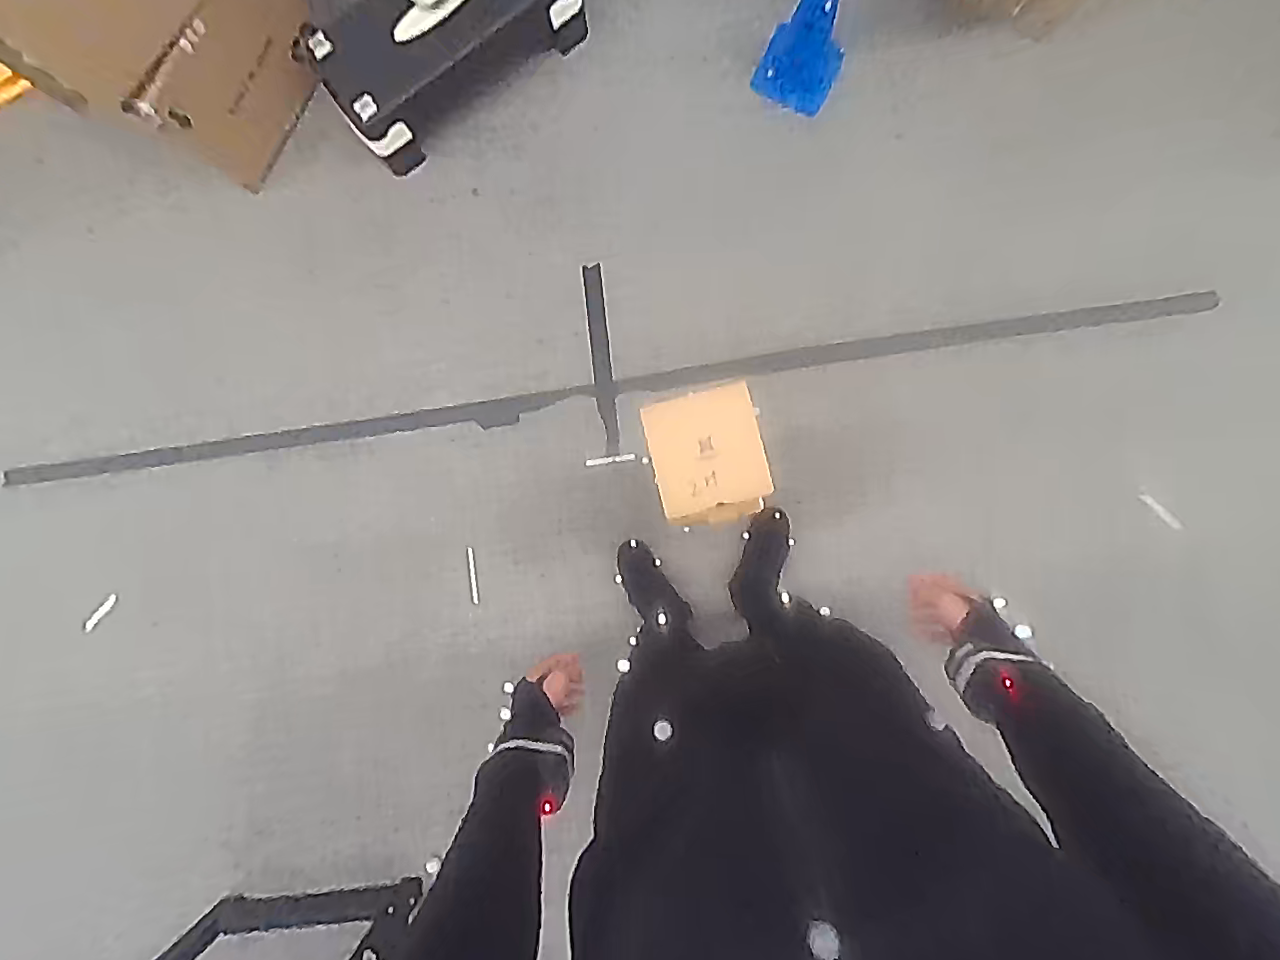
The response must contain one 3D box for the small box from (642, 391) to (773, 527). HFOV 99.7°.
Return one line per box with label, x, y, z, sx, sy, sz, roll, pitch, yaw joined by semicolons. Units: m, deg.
small box;0.102;-0.028;0.882;0.168;0.176;0.179;-14;88;3
